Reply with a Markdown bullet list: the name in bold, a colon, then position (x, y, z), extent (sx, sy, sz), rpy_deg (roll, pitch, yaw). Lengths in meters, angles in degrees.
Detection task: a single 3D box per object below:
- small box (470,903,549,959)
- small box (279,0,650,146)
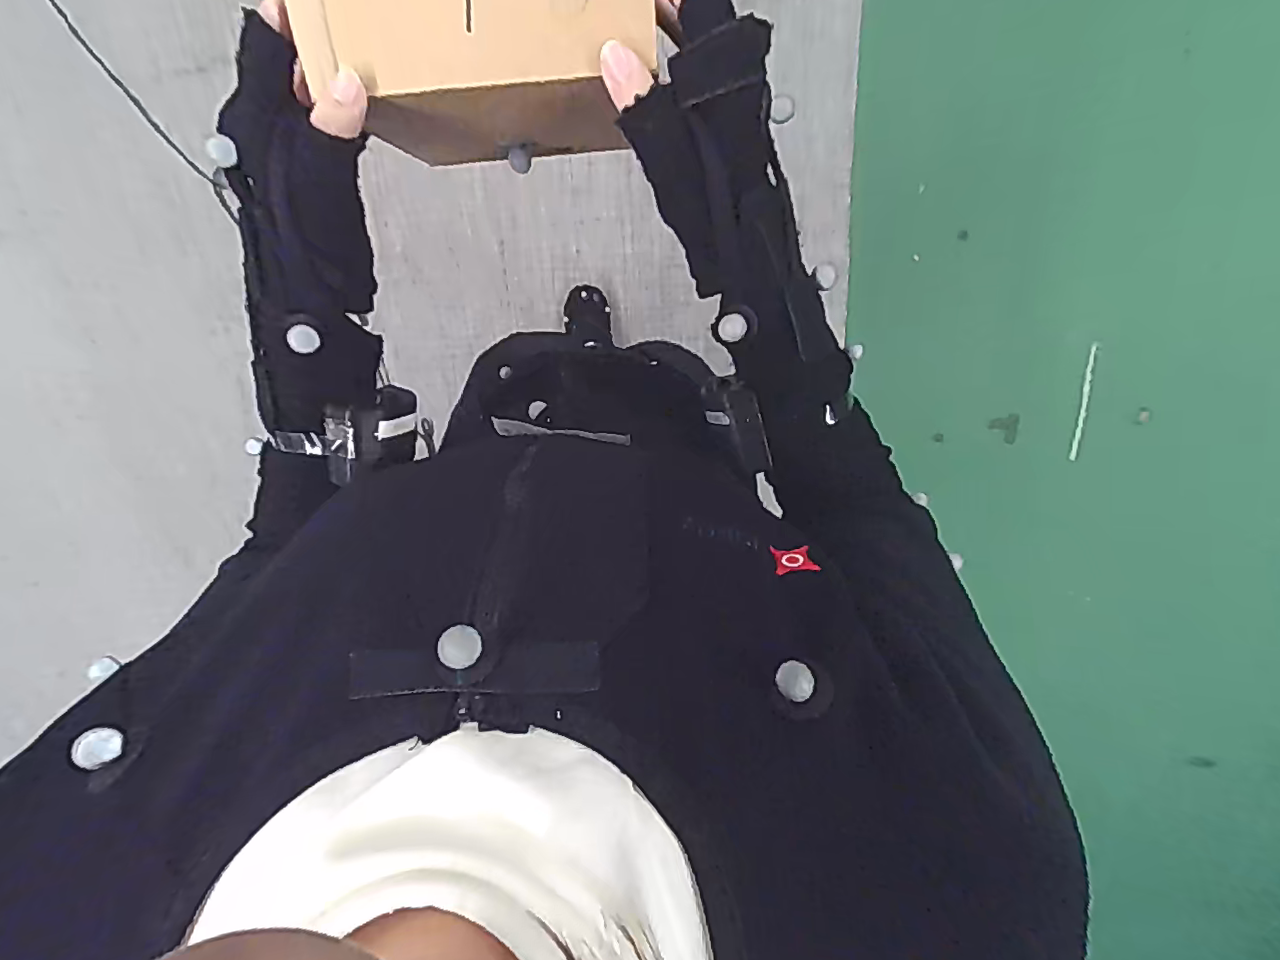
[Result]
- **small box**: position (-0.303, 1.133, 1.256), extent (0.168, 0.176, 0.179), rpy_deg (3, 108, -4)
- **small box**: position (-0.083, -0.302, 0.292), extent (0.168, 0.176, 0.179), rpy_deg (-4, 112, 1)
